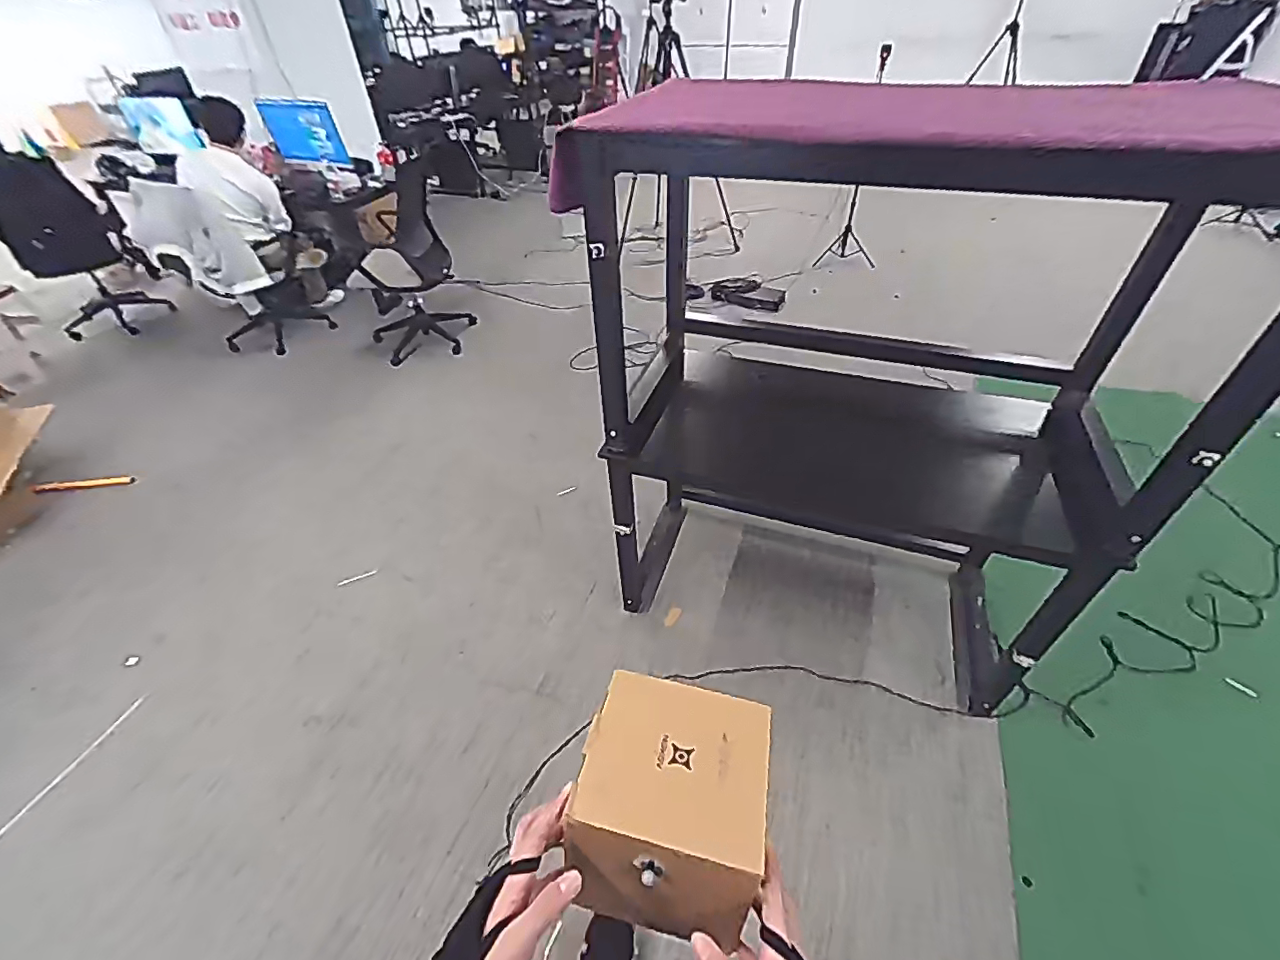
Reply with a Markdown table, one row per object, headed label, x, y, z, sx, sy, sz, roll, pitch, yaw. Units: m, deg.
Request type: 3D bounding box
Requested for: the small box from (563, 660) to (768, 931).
| label | x | y | z | sx | sy | sz | roll | pitch | yaw |
| --- | --- | --- | --- | --- | --- | --- | --- | --- | --- |
| small box | 0.030 | 0.326 | 0.570 | 0.179 | 0.176 | 0.168 | 10 | 31 | 11 |
